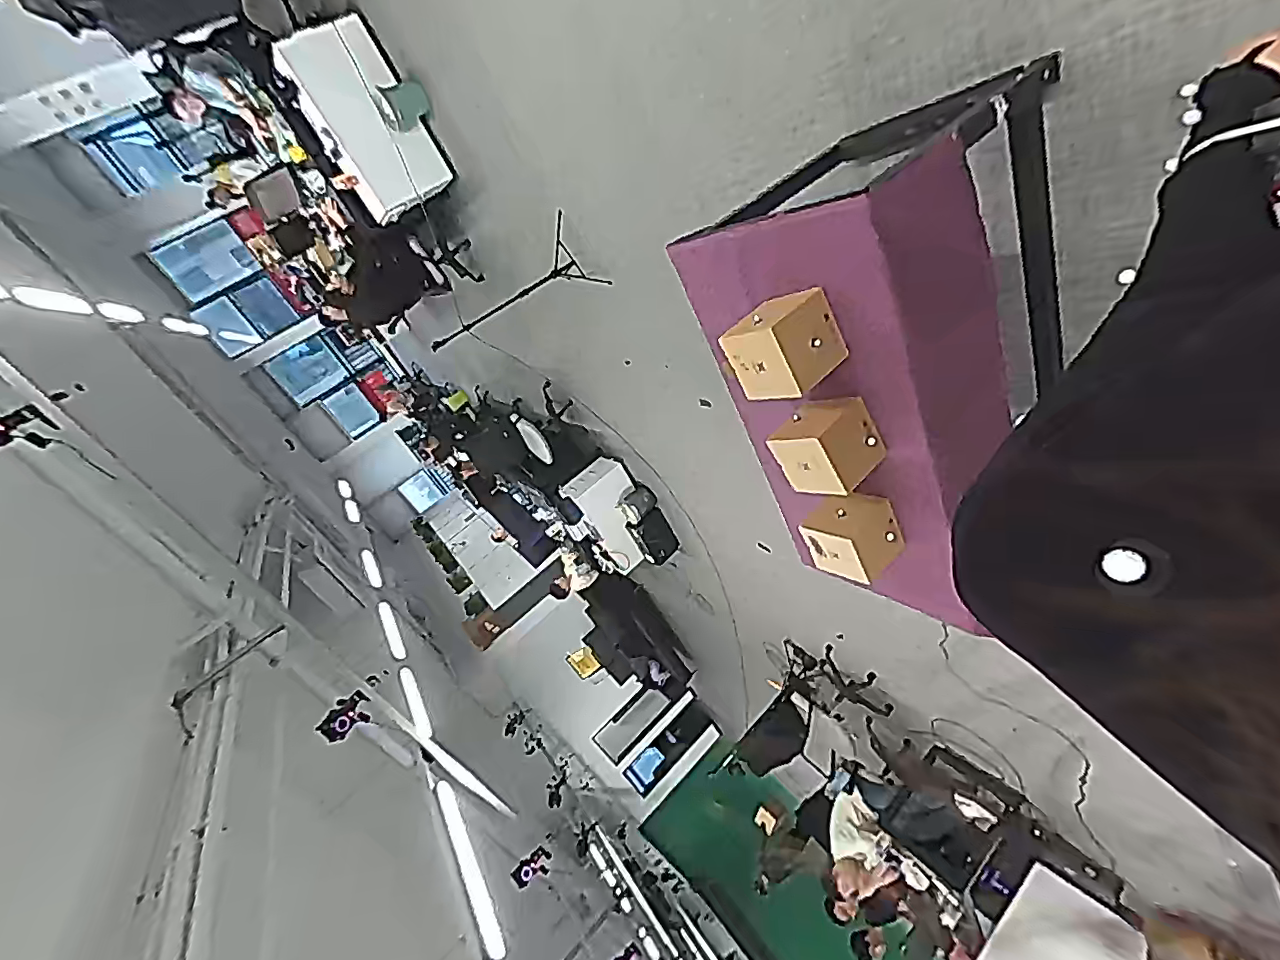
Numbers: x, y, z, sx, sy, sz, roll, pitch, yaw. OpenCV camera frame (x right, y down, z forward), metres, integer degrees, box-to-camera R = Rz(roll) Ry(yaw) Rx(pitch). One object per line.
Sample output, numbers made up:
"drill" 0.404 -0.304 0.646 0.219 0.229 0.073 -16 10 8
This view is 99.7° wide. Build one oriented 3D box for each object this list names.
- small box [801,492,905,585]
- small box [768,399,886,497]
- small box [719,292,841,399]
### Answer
"small box" 0.578 0.149 1.468 0.179 0.176 0.168 16 142 59
"small box" 0.453 -0.081 1.310 0.168 0.176 0.179 55 161 -18
"small box" 0.317 -0.294 1.198 0.168 0.176 0.179 57 161 -22
